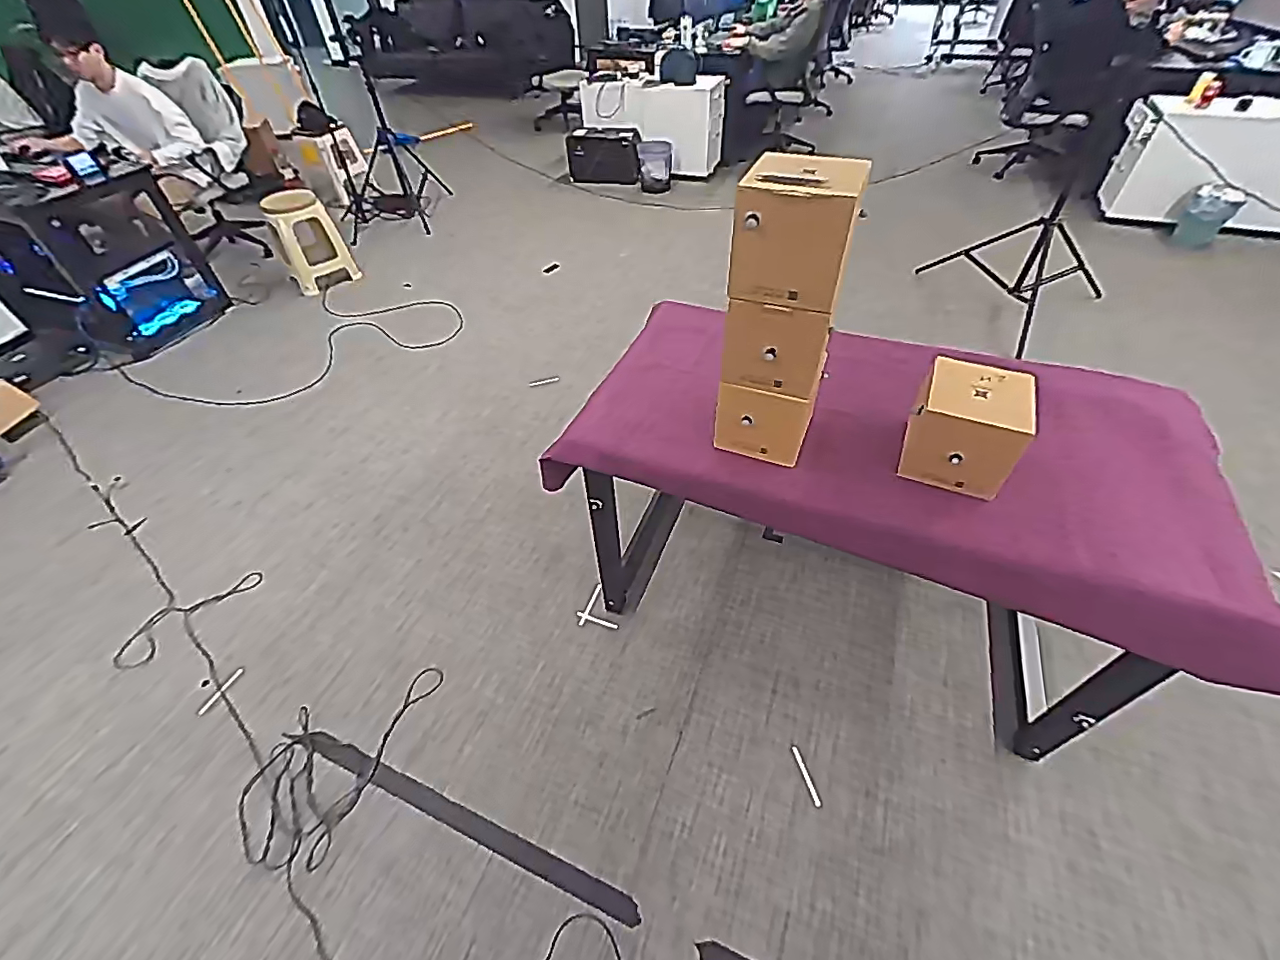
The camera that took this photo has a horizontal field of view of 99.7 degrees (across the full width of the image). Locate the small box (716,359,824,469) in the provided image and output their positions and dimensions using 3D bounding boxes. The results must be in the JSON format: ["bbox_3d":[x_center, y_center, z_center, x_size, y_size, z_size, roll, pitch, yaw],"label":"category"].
[{"bbox_3d":[0.256,-0.147,1.087,0.168,0.176,0.179,16,48,17],"label":"small box"}]

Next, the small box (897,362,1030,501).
[{"bbox_3d":[0.599,-0.089,1.012,0.168,0.176,0.179,18,50,18],"label":"small box"}]

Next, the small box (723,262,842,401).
[{"bbox_3d":[0.252,-0.265,0.973,0.168,0.176,0.179,15,49,16],"label":"small box"}]
